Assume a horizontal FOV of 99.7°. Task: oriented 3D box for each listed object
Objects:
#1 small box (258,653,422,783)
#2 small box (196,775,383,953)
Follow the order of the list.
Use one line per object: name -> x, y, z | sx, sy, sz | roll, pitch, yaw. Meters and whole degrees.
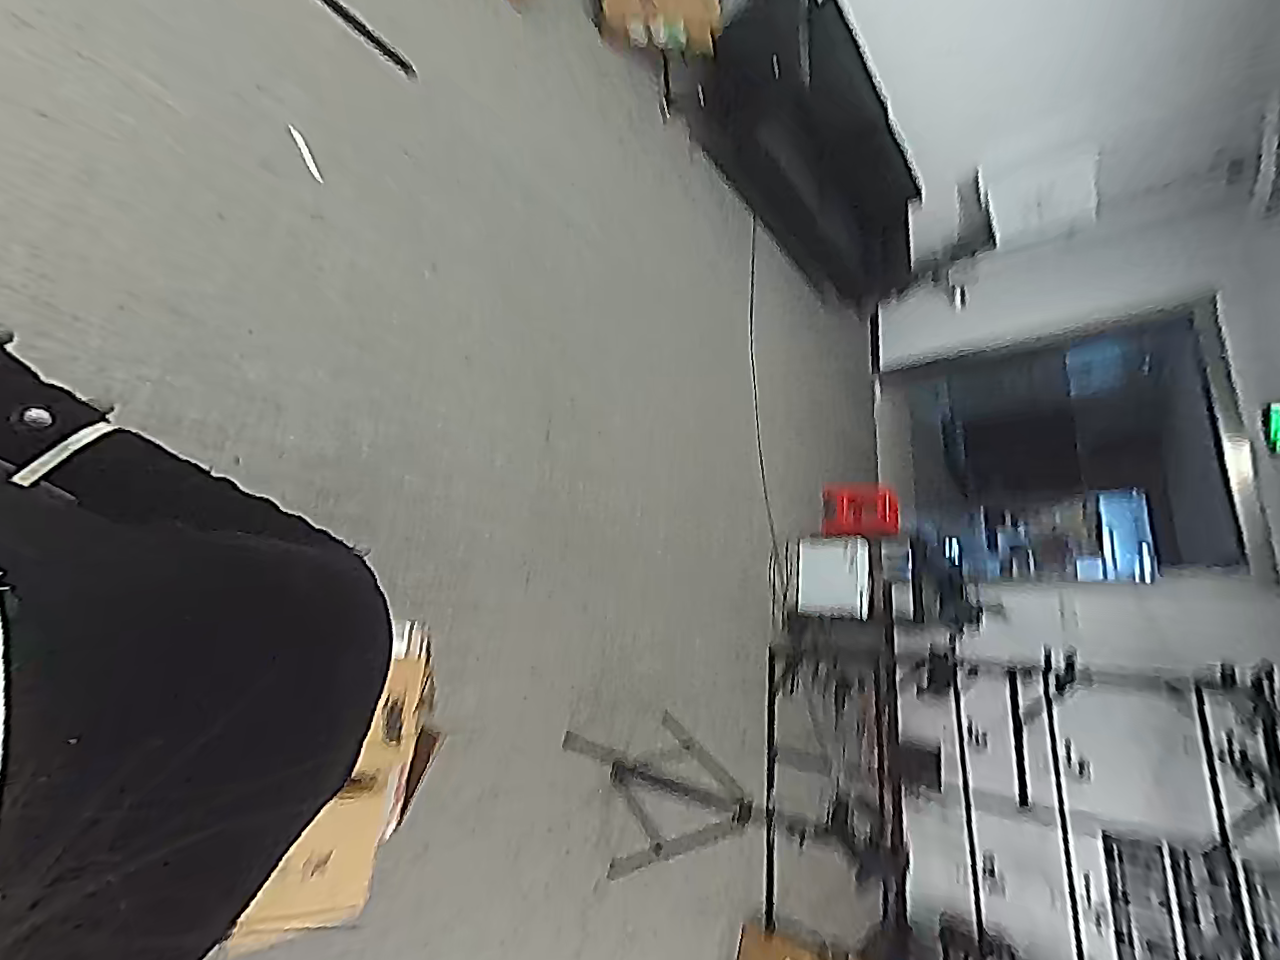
small box -> -0.494, 0.379, 0.895 | 0.179, 0.176, 0.168 | 18, 69, -45
small box -> -0.531, 0.556, 0.823 | 0.179, 0.176, 0.168 | 22, 69, -45
